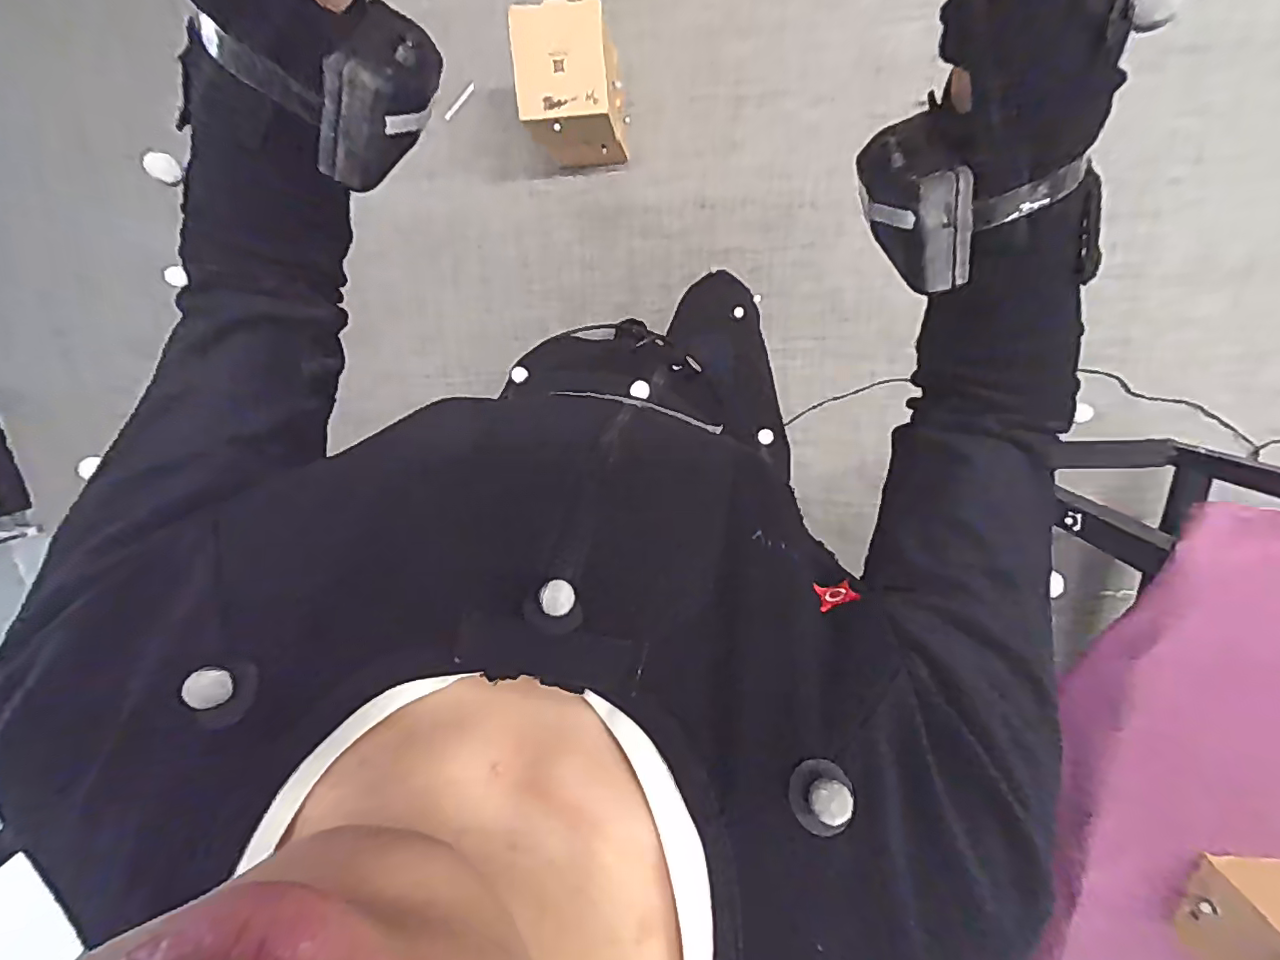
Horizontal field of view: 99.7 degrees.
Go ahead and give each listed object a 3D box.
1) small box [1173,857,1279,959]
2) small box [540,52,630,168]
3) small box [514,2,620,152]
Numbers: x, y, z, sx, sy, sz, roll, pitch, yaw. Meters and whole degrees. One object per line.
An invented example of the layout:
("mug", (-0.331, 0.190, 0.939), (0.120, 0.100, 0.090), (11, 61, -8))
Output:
("small box", (0.956, 0.687, 0.784), (0.179, 0.176, 0.168), (4, 106, 3))
("small box", (-0.120, -0.800, 1.187), (0.179, 0.176, 0.168), (-1, 106, 4))
("small box", (-0.131, -0.753, 1.029), (0.168, 0.176, 0.179), (-2, 105, 5))
